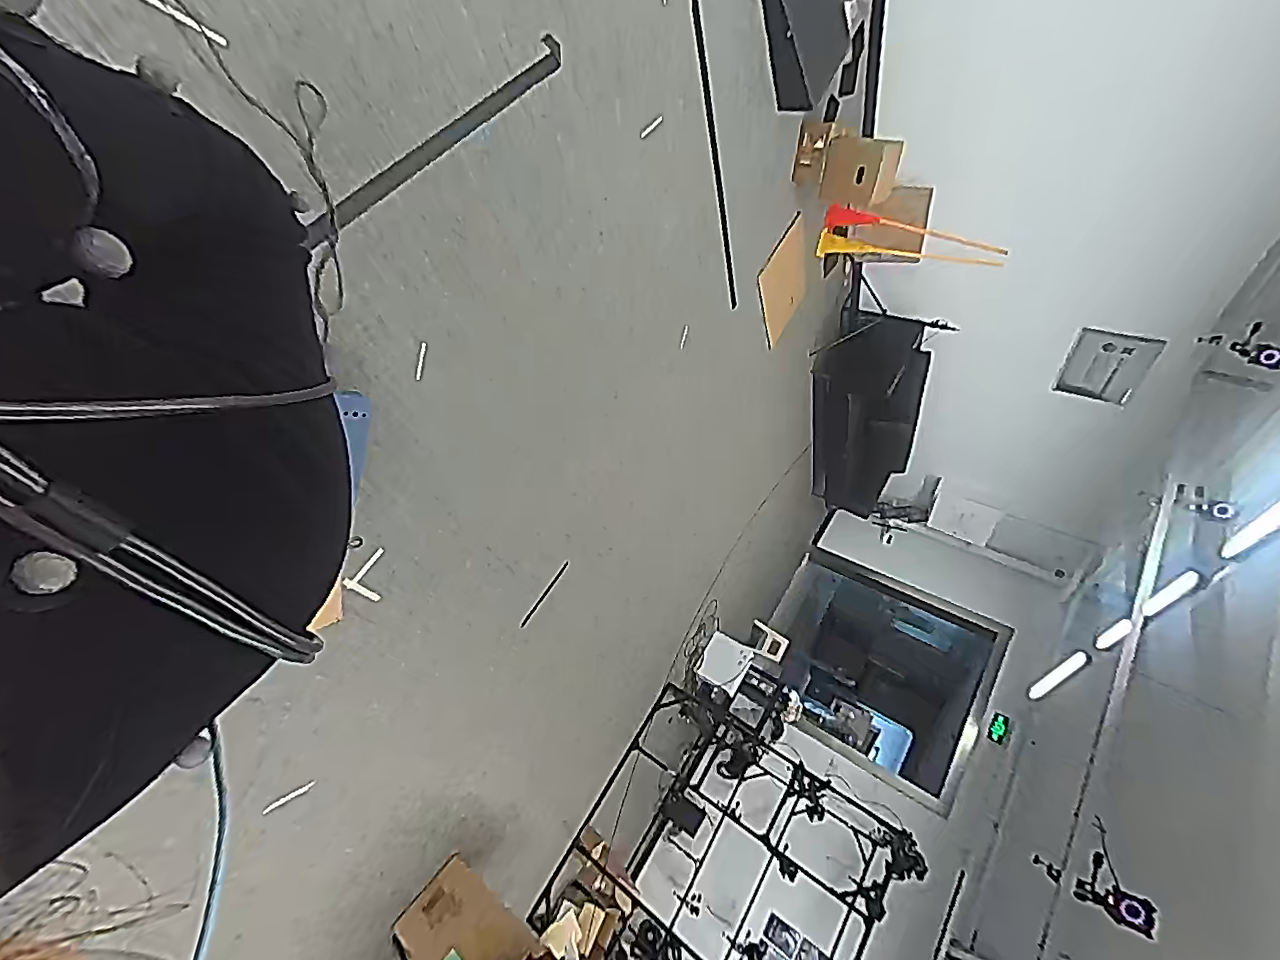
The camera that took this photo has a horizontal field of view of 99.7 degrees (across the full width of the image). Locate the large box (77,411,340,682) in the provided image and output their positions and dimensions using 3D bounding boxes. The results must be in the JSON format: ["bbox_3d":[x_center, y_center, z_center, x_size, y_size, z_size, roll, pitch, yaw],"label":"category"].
[{"bbox_3d":[-0.853,0.107,1.103,0.320,0.320,0.408,-19,127,-52],"label":"large box"}]
